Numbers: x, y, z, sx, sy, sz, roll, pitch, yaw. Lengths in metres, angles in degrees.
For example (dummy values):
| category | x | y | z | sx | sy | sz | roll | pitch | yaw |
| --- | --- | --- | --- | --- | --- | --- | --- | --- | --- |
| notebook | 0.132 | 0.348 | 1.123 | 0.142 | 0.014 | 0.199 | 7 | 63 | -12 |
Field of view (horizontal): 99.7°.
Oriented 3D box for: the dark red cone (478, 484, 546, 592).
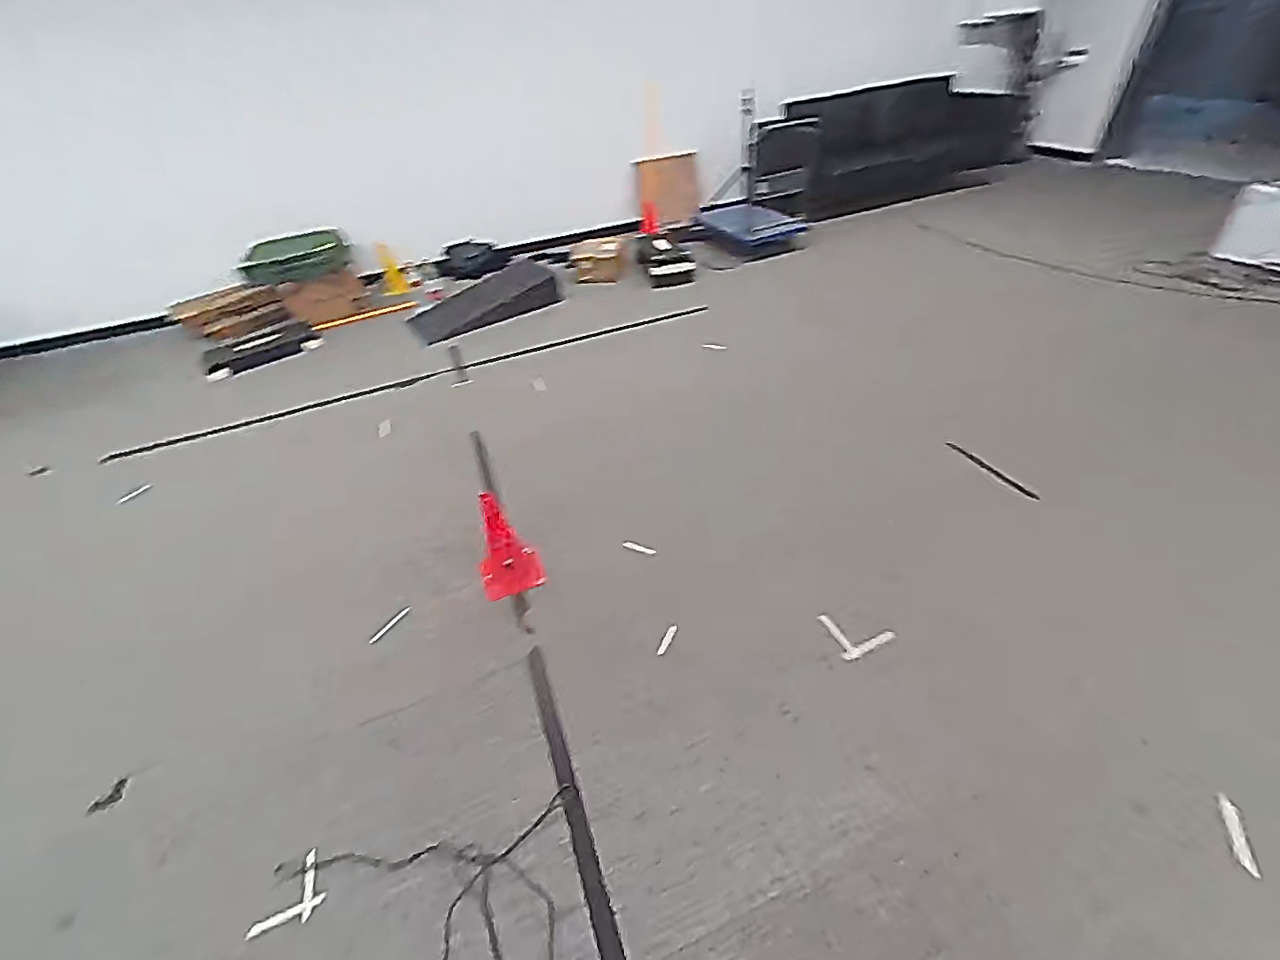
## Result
| category | x | y | z | sx | sy | sz | roll | pitch | yaw |
| --- | --- | --- | --- | --- | --- | --- | --- | --- | --- |
| dark red cone | -0.454 | 0.168 | 1.764 | 0.201 | 0.394 | 0.202 | -19 | 42 | -13 |
